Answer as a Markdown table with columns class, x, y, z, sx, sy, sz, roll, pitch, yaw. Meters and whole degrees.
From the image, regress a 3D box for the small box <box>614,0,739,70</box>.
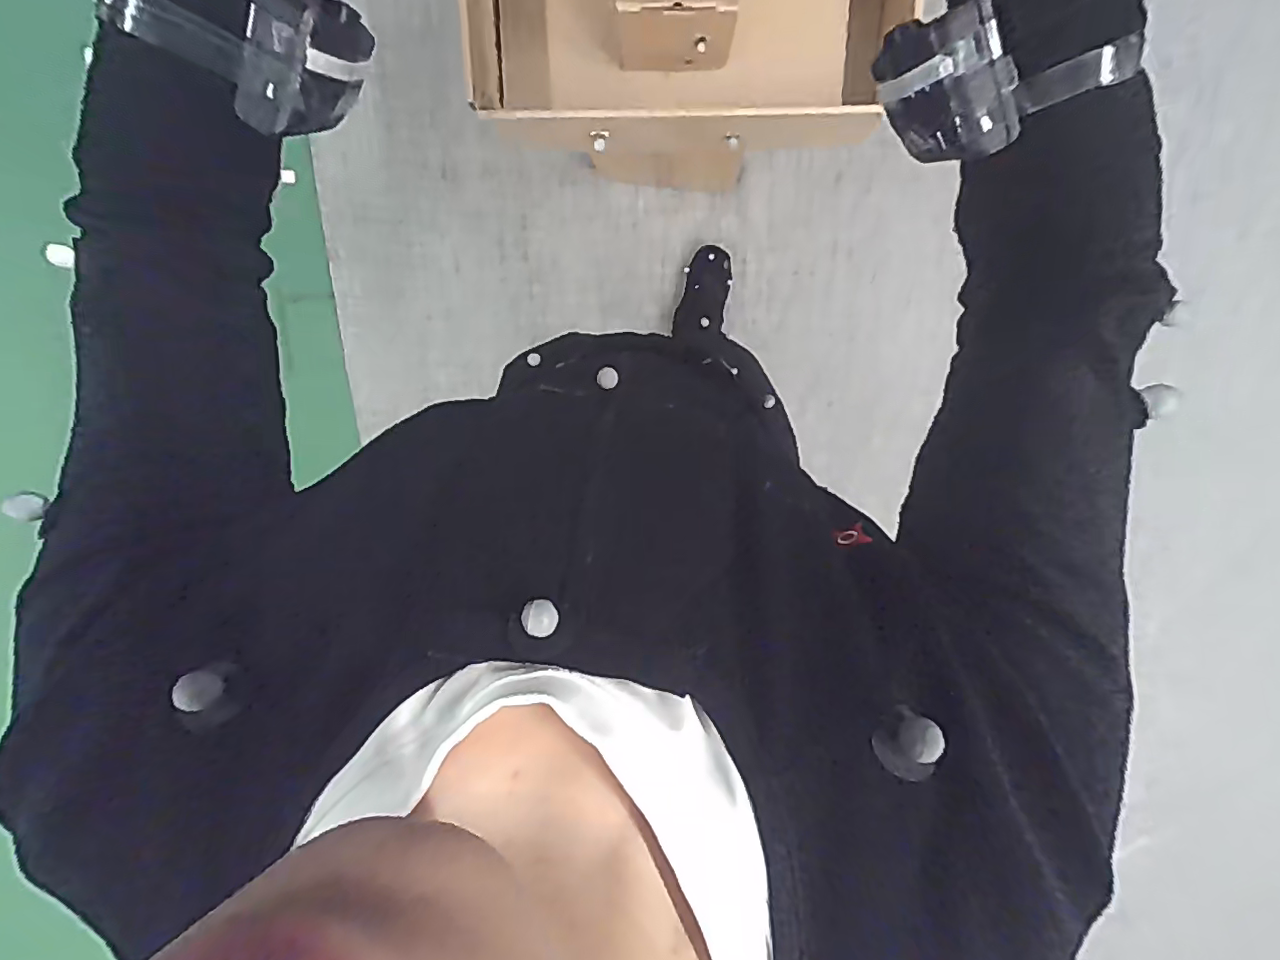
| class | x | y | z | sx | sy | sz | roll | pitch | yaw |
| --- | --- | --- | --- | --- | --- | --- | --- | --- | --- |
| small box | 0.050 | -0.711 | 0.761 | 0.168 | 0.176 | 0.179 | -1 | 103 | 1 |
